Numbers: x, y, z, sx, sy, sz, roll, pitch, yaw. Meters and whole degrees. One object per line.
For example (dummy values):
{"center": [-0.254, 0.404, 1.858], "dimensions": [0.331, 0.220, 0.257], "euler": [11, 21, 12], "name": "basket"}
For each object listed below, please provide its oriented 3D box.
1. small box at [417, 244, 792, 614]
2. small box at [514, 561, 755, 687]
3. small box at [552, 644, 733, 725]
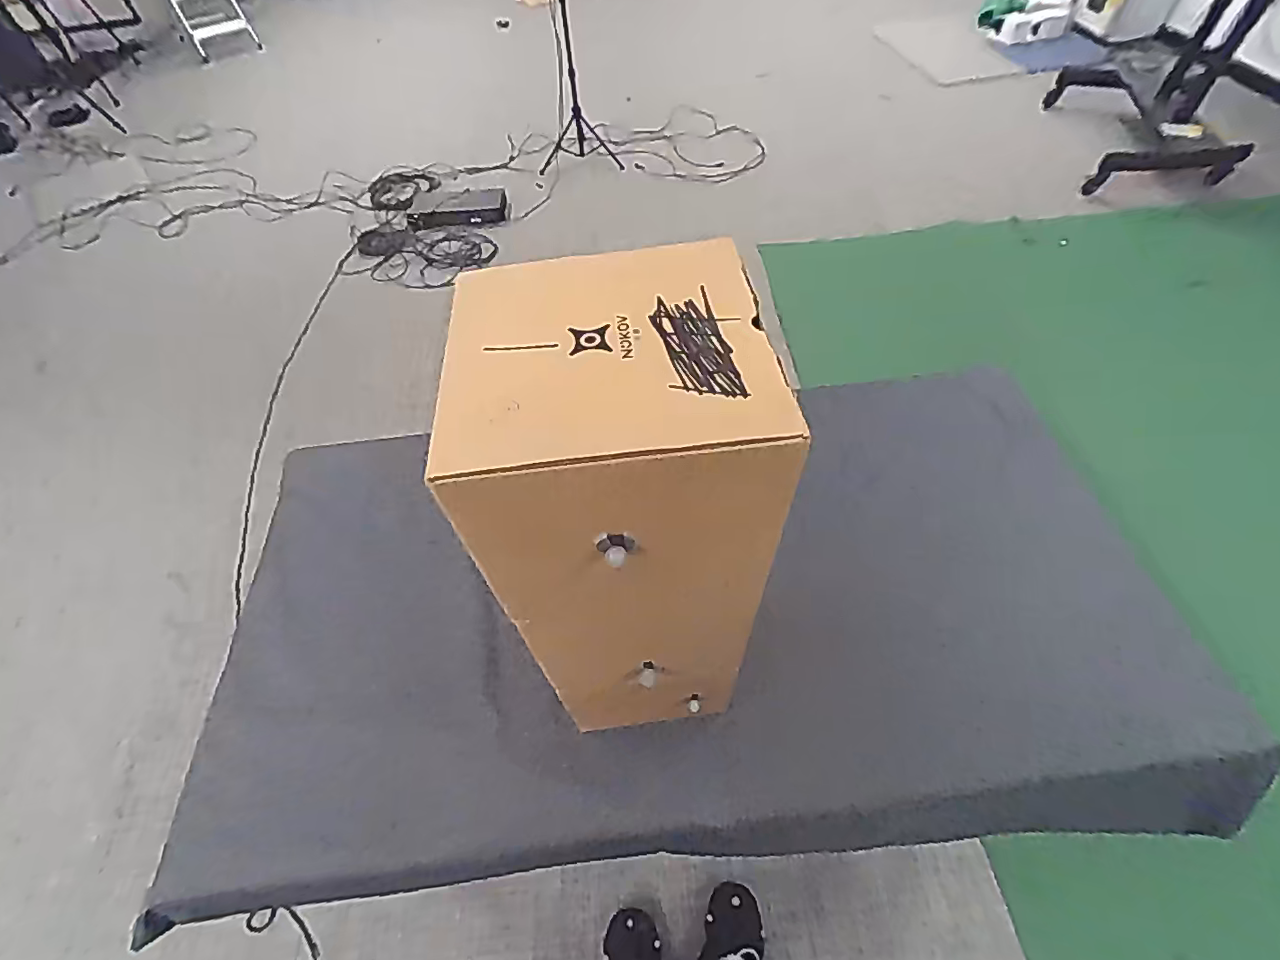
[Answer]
{"center": [-0.019, -0.026, 0.357], "dimensions": [0.179, 0.176, 0.168], "euler": [-7, 53, -1], "name": "small box"}
{"center": [-0.011, 0.073, 0.491], "dimensions": [0.179, 0.176, 0.168], "euler": [-10, 55, -3], "name": "small box"}
{"center": [-0.002, 0.168, 0.621], "dimensions": [0.179, 0.176, 0.168], "euler": [-9, 53, -1], "name": "small box"}
